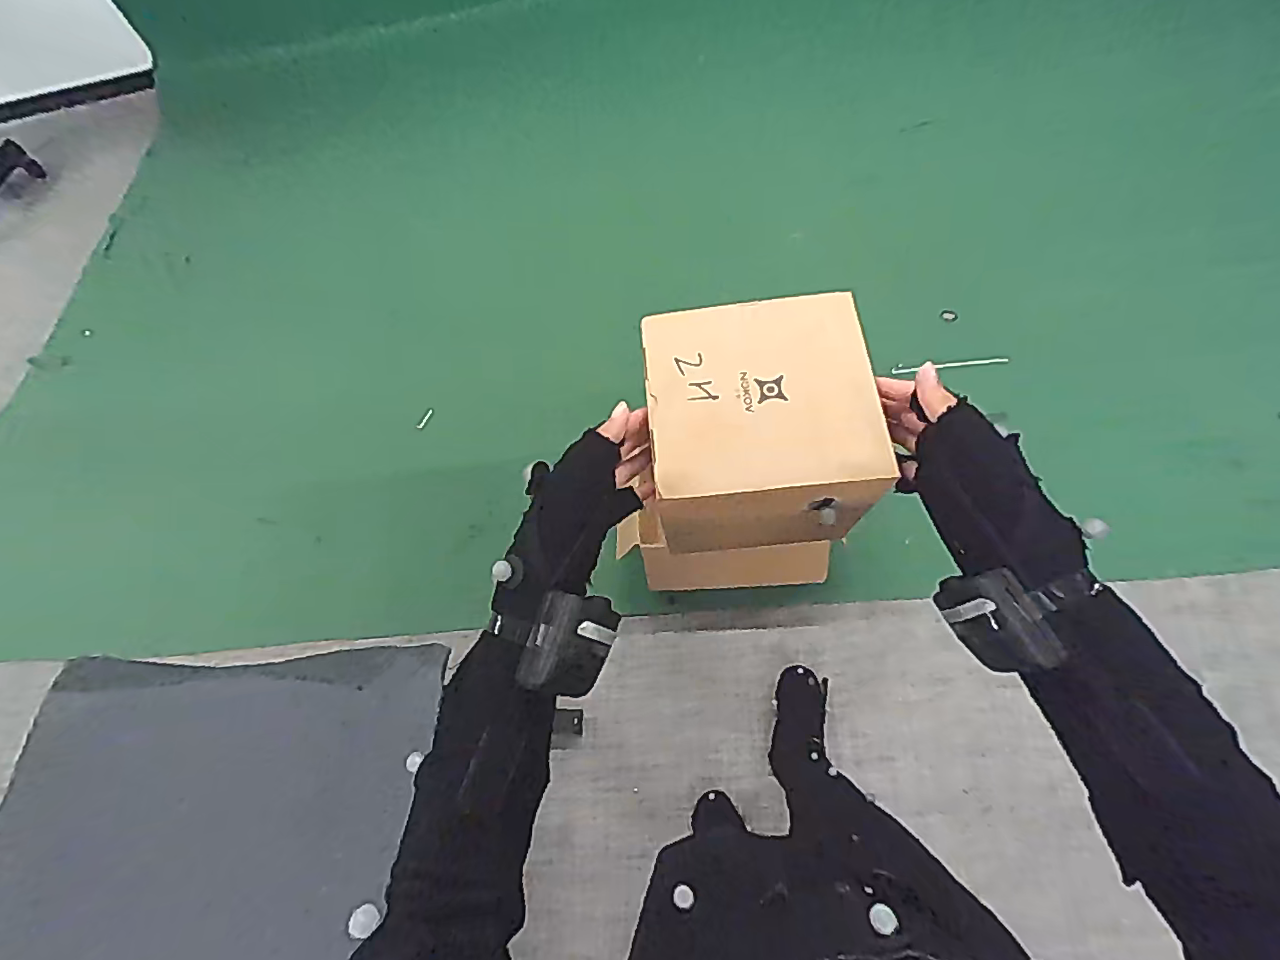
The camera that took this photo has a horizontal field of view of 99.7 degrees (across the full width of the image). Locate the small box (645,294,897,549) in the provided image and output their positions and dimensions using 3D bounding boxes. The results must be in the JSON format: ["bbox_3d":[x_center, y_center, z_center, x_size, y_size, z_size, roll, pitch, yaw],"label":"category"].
[{"bbox_3d":[0.101,-0.040,0.493,0.179,0.176,0.168,-6,68,4],"label":"small box"}]
